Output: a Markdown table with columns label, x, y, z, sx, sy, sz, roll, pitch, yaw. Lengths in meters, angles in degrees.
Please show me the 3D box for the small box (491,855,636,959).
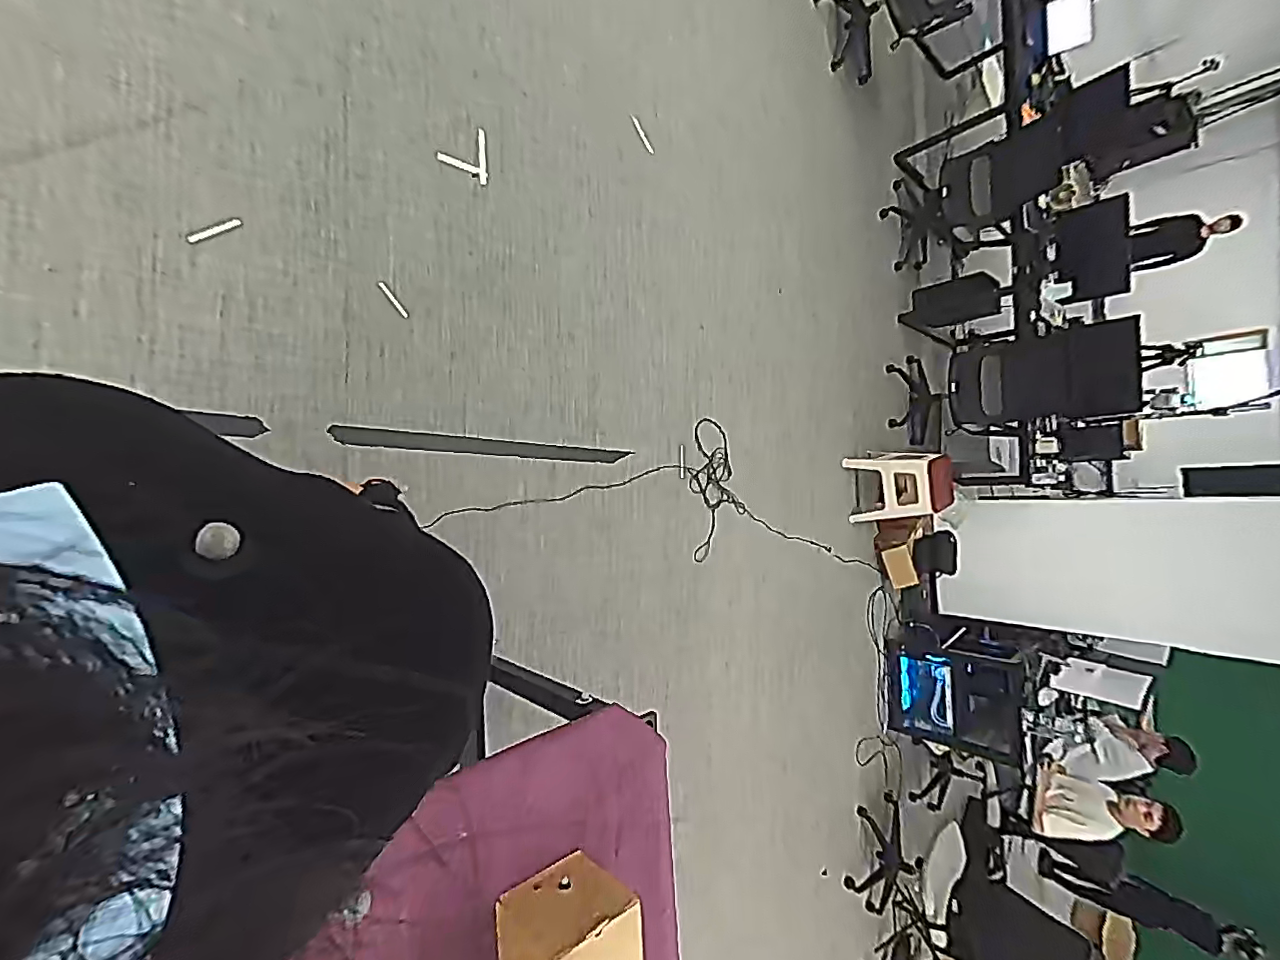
| label | x | y | z | sx | sy | sz | roll | pitch | yaw |
| --- | --- | --- | --- | --- | --- | --- | --- | --- | --- |
| small box | -0.122 | 0.749 | 0.855 | 0.168 | 0.176 | 0.179 | -2 | 88 | -42 |
